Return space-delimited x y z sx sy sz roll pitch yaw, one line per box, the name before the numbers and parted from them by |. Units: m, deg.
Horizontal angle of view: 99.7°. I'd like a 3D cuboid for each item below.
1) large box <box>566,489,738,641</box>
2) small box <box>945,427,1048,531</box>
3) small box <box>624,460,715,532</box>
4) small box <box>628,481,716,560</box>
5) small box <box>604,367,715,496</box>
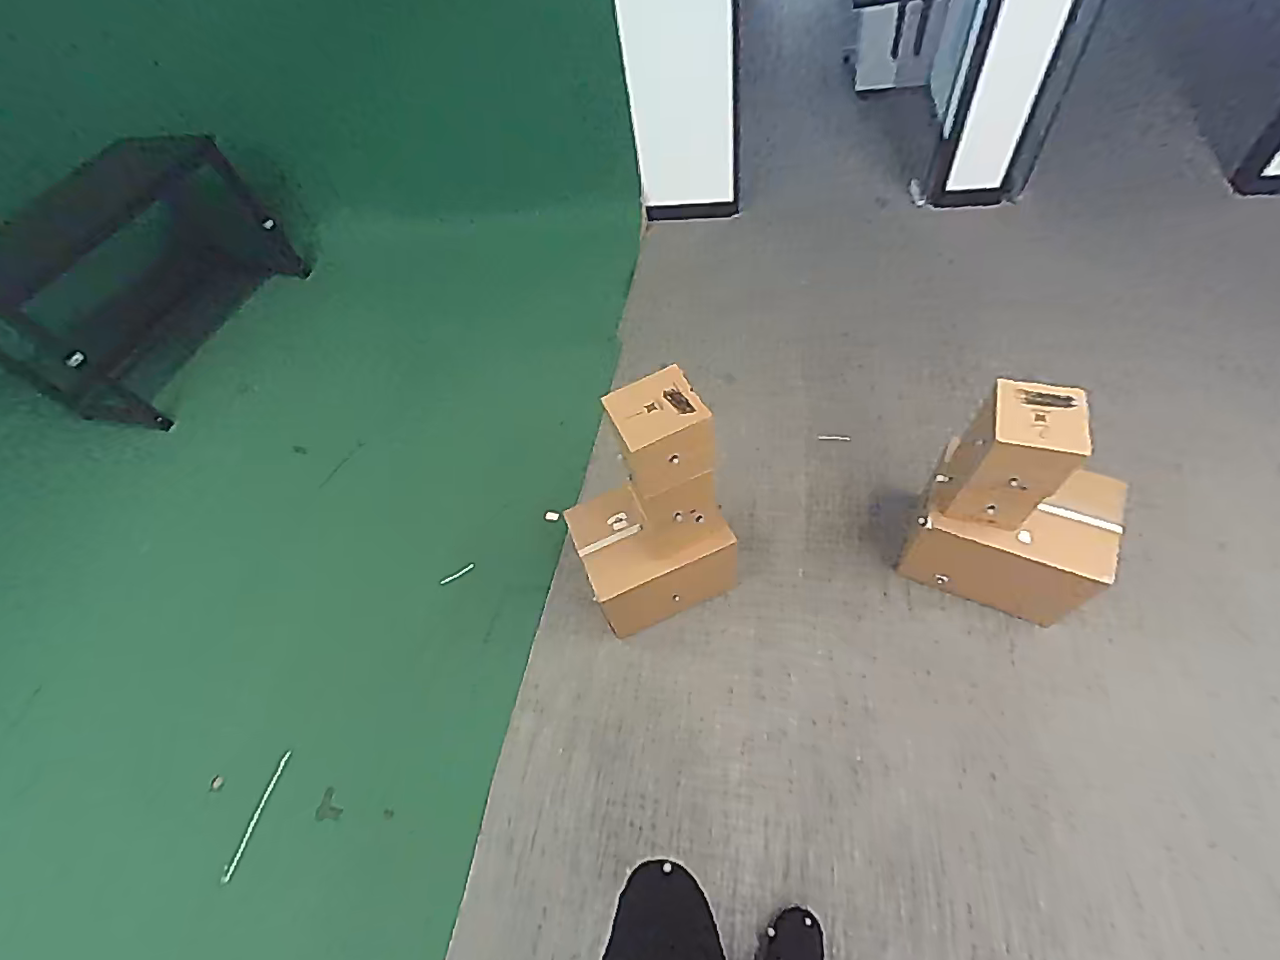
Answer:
large box | 0.045 0.221 1.614 0.408 0.320 0.320 -24 54 -5
small box | 0.859 0.001 1.315 0.168 0.176 0.179 13 61 18
small box | 0.066 -0.009 1.267 0.168 0.176 0.179 -23 56 -5
small box | 0.086 0.077 1.403 0.179 0.176 0.168 -24 55 -6
small box | 0.046 -0.097 1.131 0.179 0.176 0.168 -25 55 -5
